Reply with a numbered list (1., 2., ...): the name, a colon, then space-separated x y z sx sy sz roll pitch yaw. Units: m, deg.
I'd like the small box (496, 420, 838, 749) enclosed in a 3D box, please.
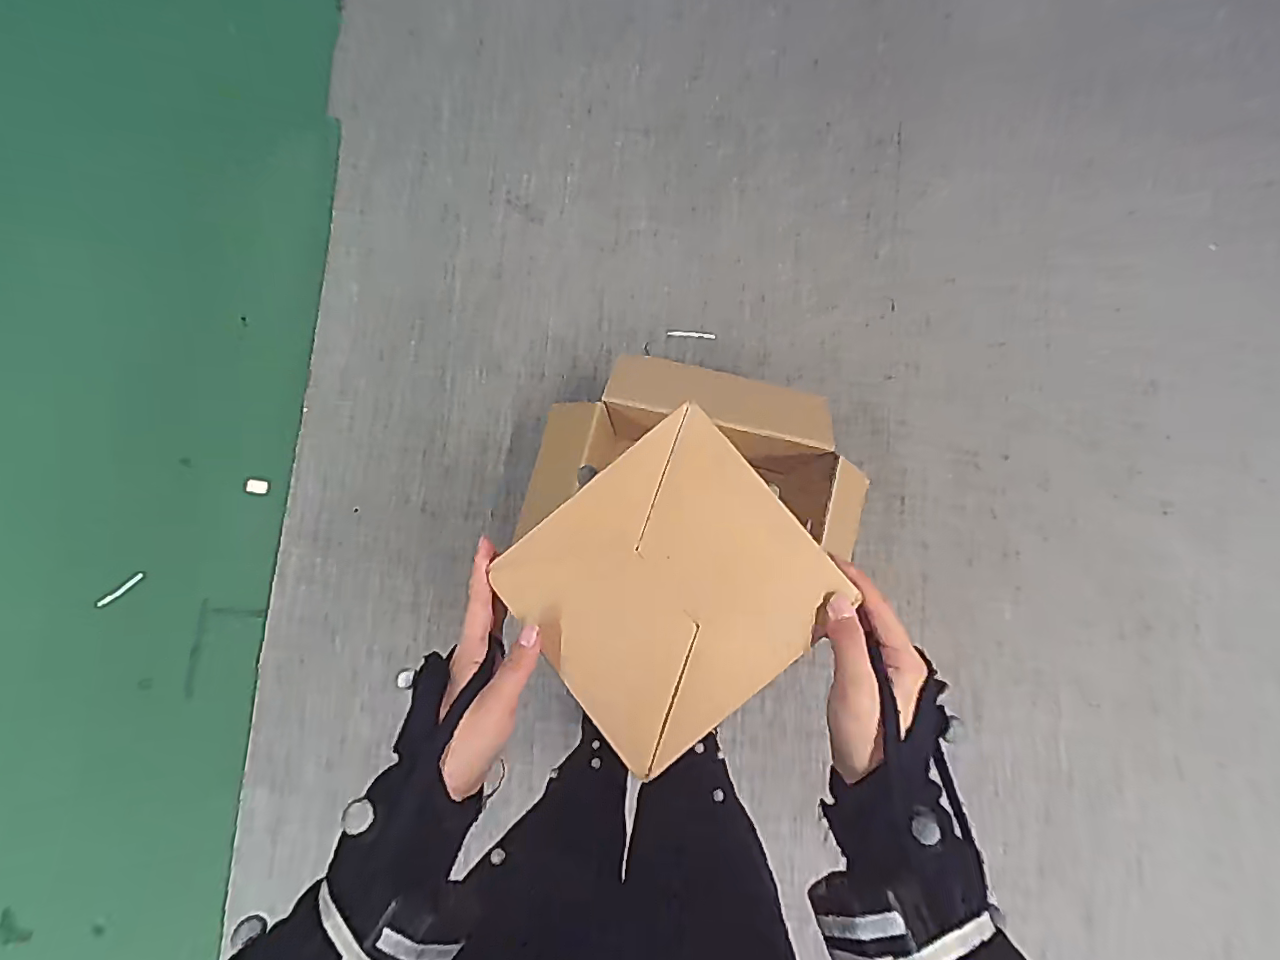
1. small box: 0.022 0.070 0.424 0.179 0.176 0.168 -40 83 0
